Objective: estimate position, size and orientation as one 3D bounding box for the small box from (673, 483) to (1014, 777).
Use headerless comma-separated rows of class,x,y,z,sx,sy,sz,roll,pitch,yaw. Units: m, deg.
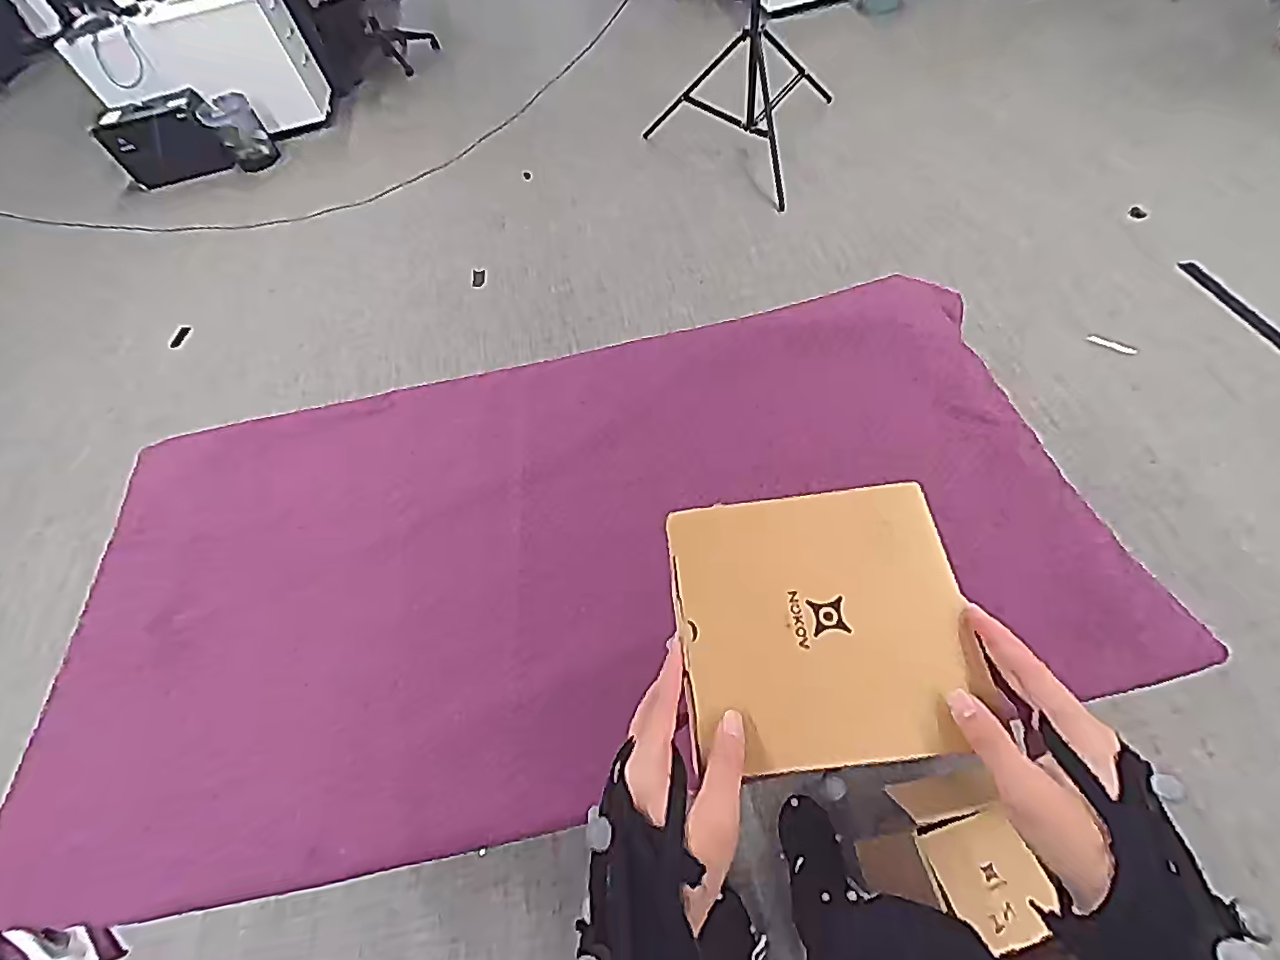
small box,0.122,0.119,0.407,0.179,0.176,0.168,-8,63,3
